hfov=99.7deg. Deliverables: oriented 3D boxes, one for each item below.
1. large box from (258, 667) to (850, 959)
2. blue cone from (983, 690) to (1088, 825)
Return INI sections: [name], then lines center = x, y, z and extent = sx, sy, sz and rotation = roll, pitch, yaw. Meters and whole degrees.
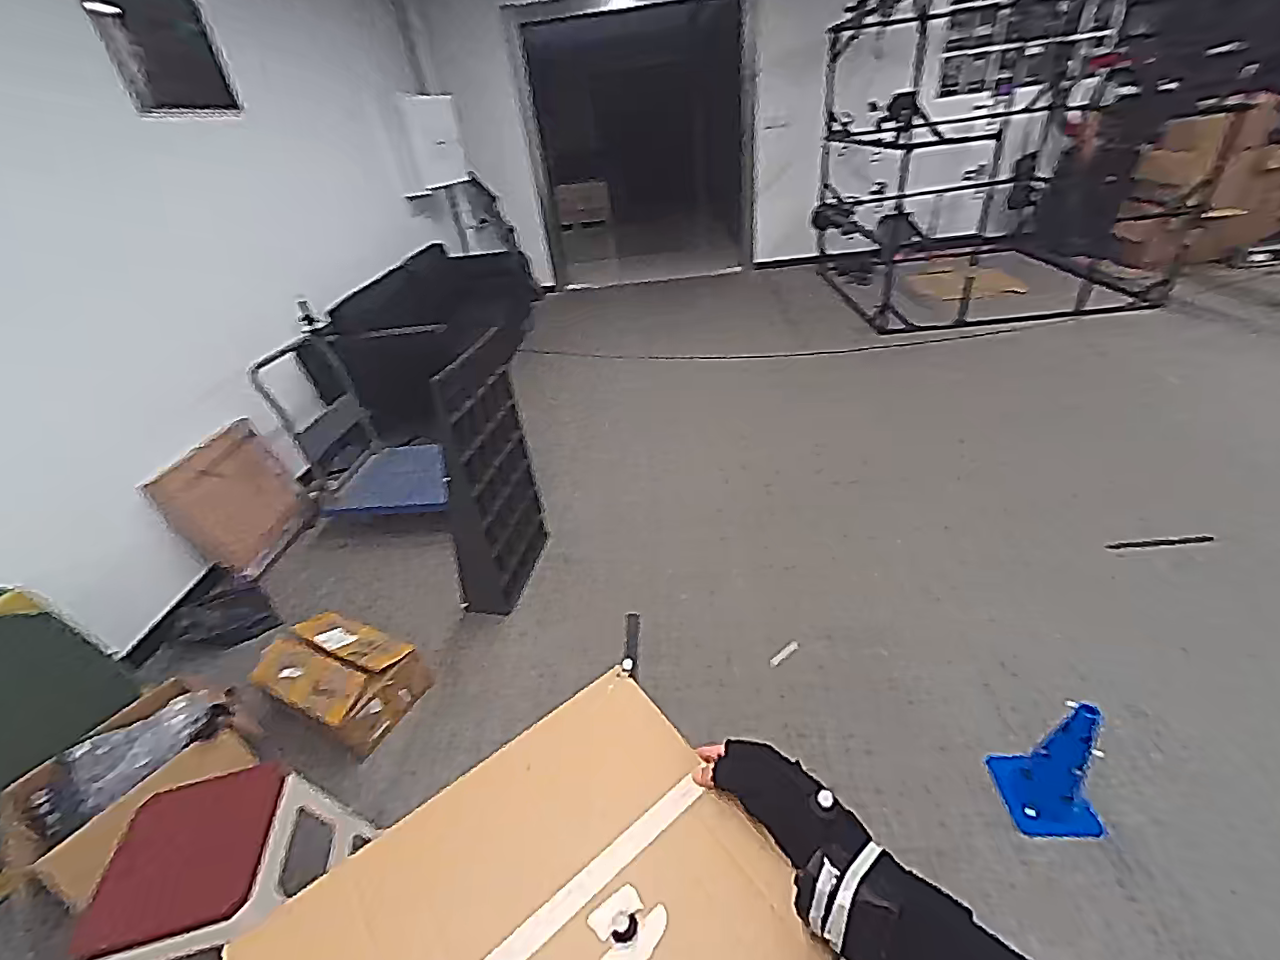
[large box]
center = -0.063, 0.484, 0.528
extent = 0.408, 0.320, 0.320
rotation = -28, 42, -26
[blue cone]
center = 1.000, 0.651, 1.308
extent = 0.193, 0.380, 0.192
rotation = -3, 32, 7
